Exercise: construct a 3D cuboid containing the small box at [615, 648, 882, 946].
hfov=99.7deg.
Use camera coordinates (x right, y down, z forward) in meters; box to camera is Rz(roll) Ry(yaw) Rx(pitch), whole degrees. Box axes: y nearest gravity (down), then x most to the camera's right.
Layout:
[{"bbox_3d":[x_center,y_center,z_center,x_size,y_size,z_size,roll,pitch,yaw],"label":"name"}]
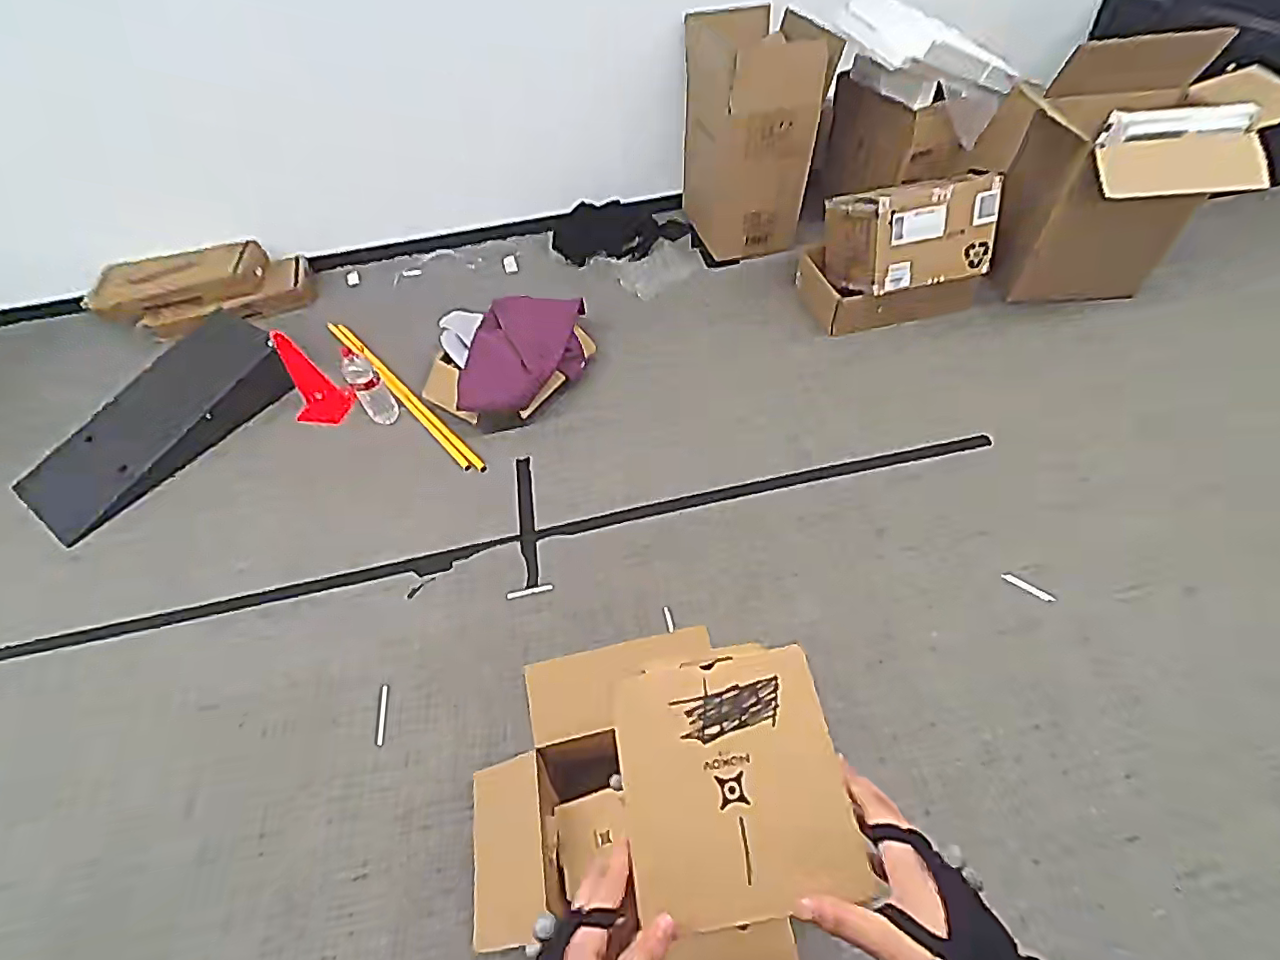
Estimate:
[{"bbox_3d":[0.076,0.268,0.473,0.168,0.176,0.179,-11,58,-1],"label":"small box"}]
